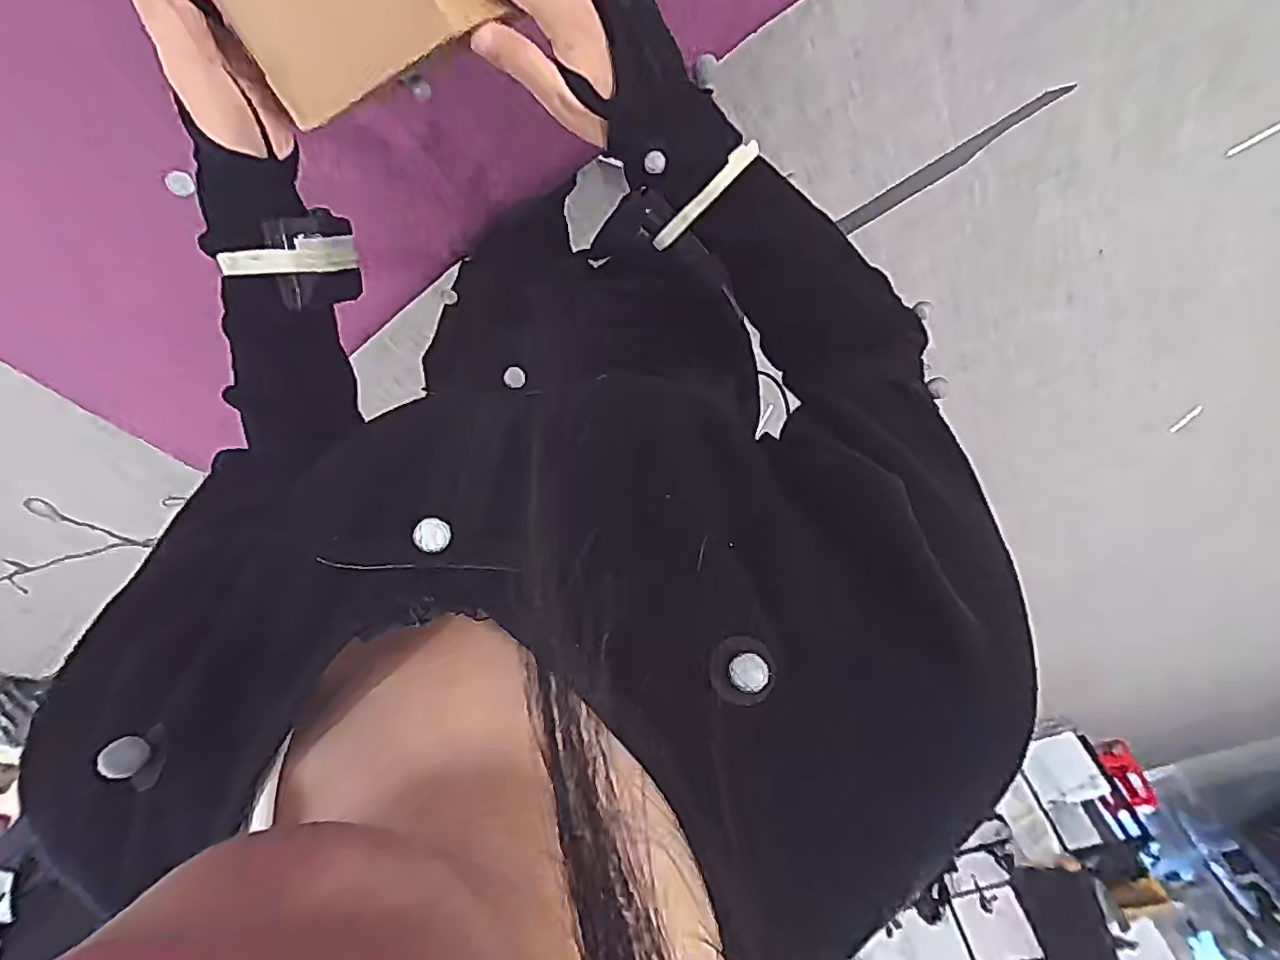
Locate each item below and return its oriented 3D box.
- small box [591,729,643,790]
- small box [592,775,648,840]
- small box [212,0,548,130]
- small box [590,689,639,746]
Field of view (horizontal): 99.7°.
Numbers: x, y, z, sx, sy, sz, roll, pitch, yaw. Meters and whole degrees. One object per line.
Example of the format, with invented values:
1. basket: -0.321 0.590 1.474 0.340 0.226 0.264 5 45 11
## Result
1. small box: -0.094 1.105 2.132 0.168 0.176 0.179 8 132 -15
2. small box: -0.081 1.213 2.010 0.168 0.176 0.179 8 131 -15
3. small box: -0.140 -0.328 0.286 0.179 0.176 0.168 7 142 38
4. small box: -0.109 0.992 2.249 0.168 0.176 0.179 8 131 -15
